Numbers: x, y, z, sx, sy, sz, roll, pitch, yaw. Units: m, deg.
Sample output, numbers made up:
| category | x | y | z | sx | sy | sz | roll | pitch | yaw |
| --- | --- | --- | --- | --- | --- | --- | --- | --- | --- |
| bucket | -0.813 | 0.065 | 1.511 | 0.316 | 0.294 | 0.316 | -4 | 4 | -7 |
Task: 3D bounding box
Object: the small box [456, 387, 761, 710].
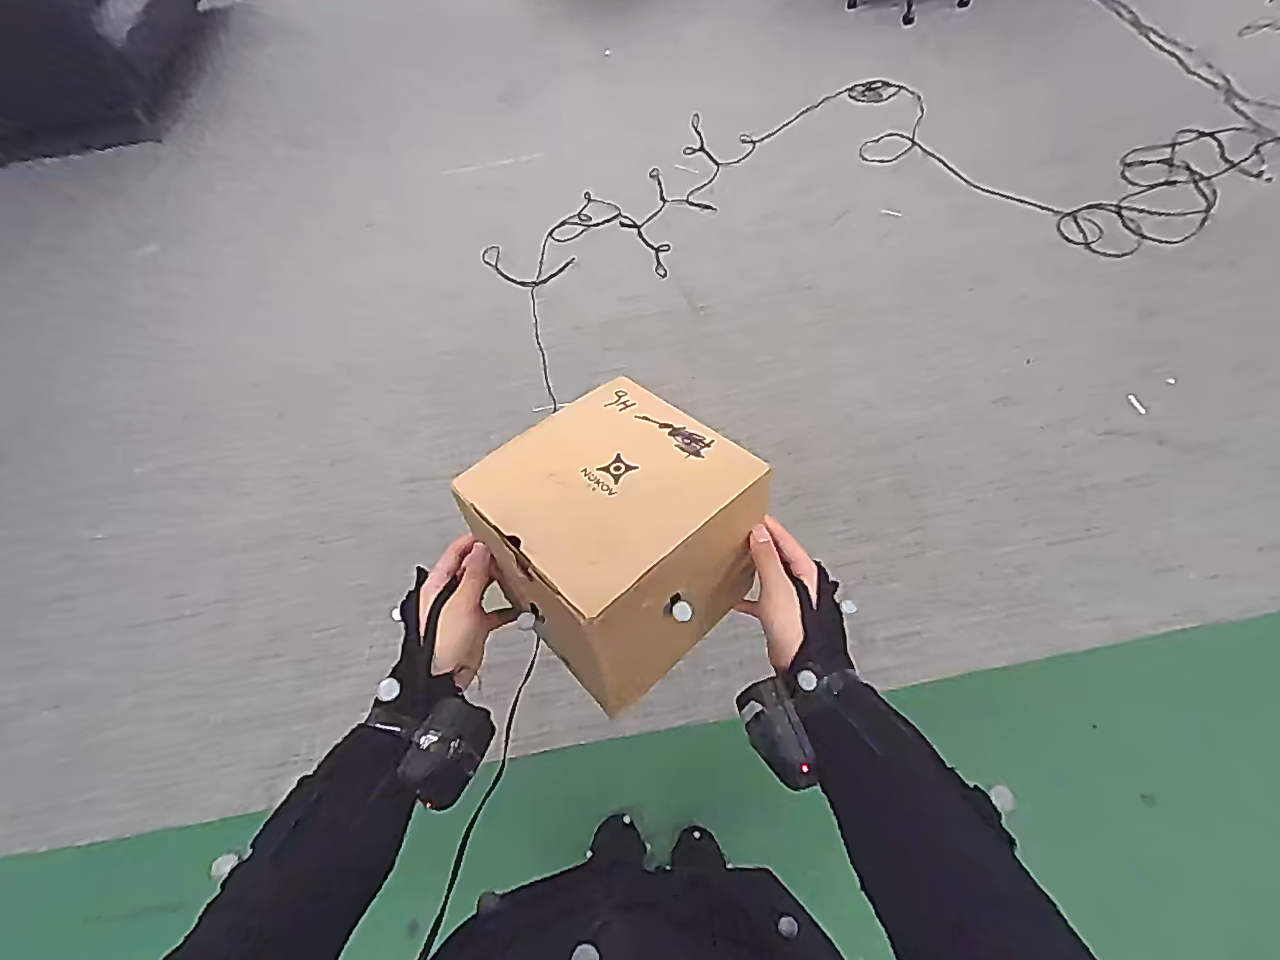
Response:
| category | x | y | z | sx | sy | sz | roll | pitch | yaw |
| --- | --- | --- | --- | --- | --- | --- | --- | --- | --- |
| small box | -0.018 | 0.058 | 0.461 | 0.179 | 0.176 | 0.168 | -37 | 55 | -25 |
